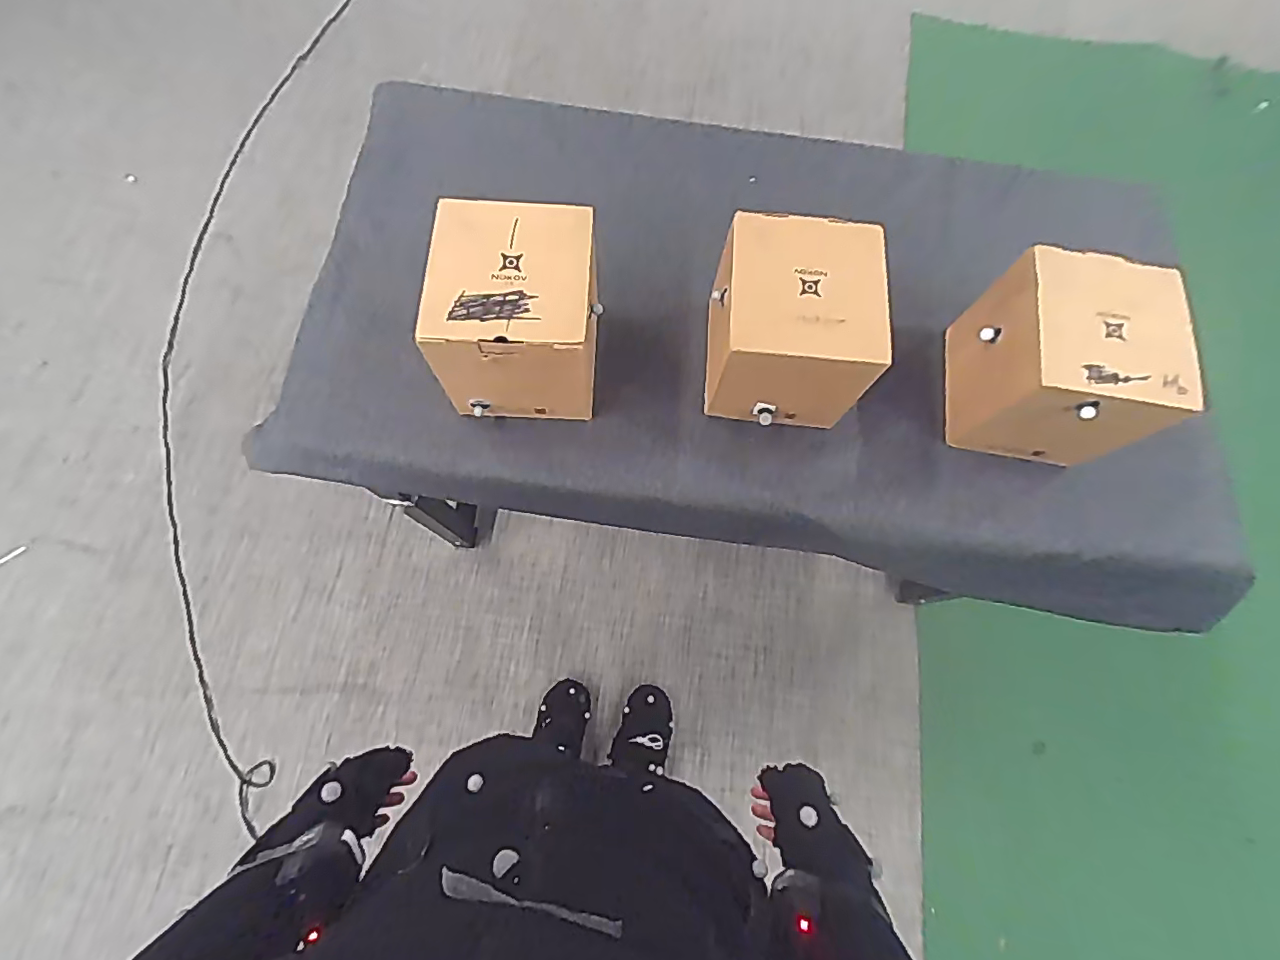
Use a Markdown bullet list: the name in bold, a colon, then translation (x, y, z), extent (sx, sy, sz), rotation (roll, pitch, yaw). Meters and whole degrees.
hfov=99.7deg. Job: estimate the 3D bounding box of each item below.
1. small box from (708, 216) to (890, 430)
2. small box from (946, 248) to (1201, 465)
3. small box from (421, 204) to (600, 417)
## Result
- **small box**: translation (0.176, -0.178, 0.645), extent (0.168, 0.176, 0.179), rotation (5, 73, 0)
- **small box**: translation (0.489, -0.137, 0.643), extent (0.168, 0.176, 0.179), rotation (9, 71, 2)
- **small box**: translation (-0.134, -0.186, 0.630), extent (0.168, 0.176, 0.179), rotation (2, 70, -2)
